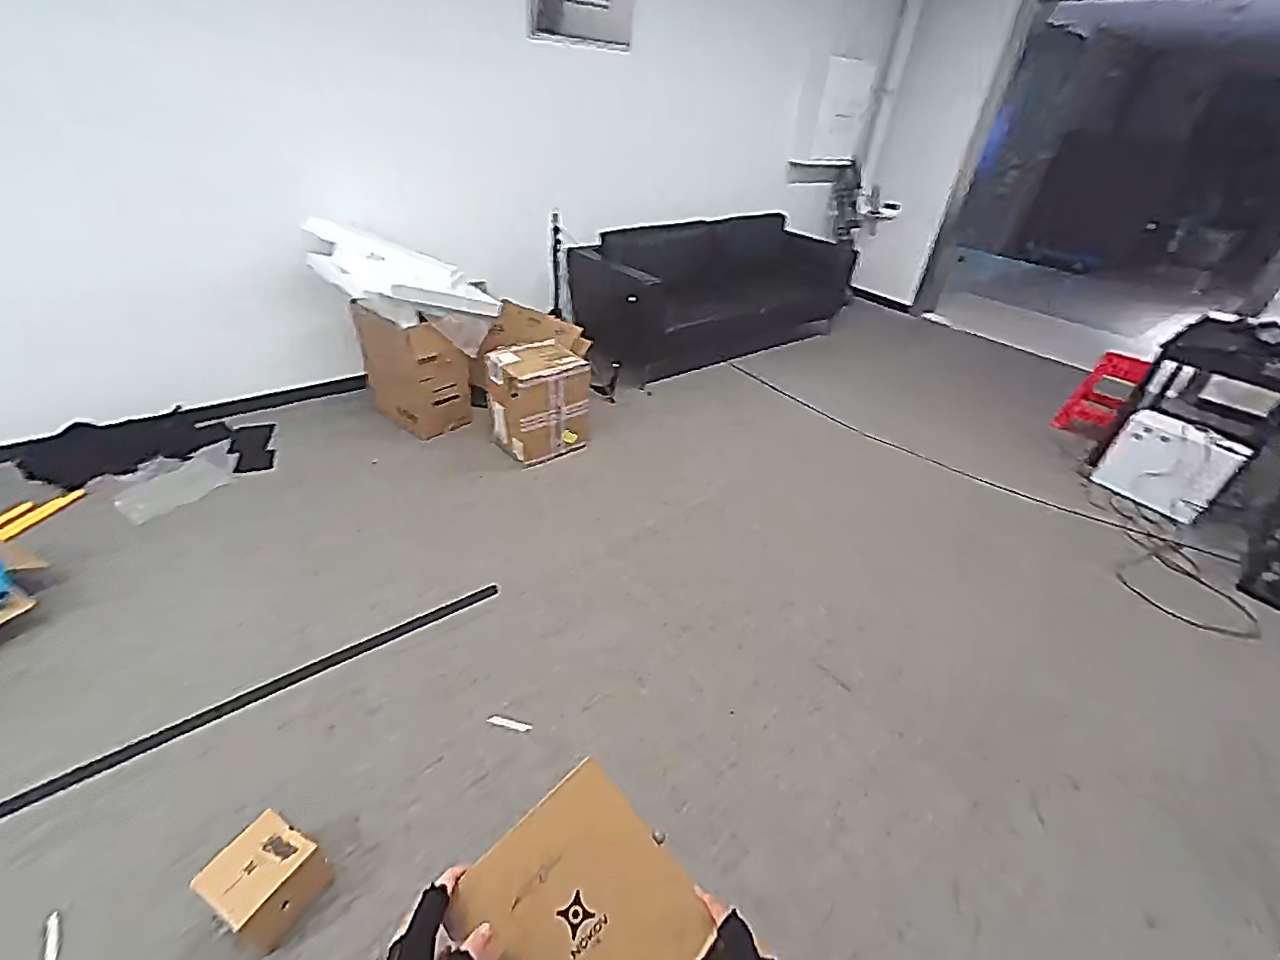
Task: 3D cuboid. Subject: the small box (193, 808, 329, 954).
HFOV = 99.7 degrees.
[{"bbox_3d":[-0.825,0.887,1.200,0.168,0.176,0.179,21,39,22],"label":"small box"}]
